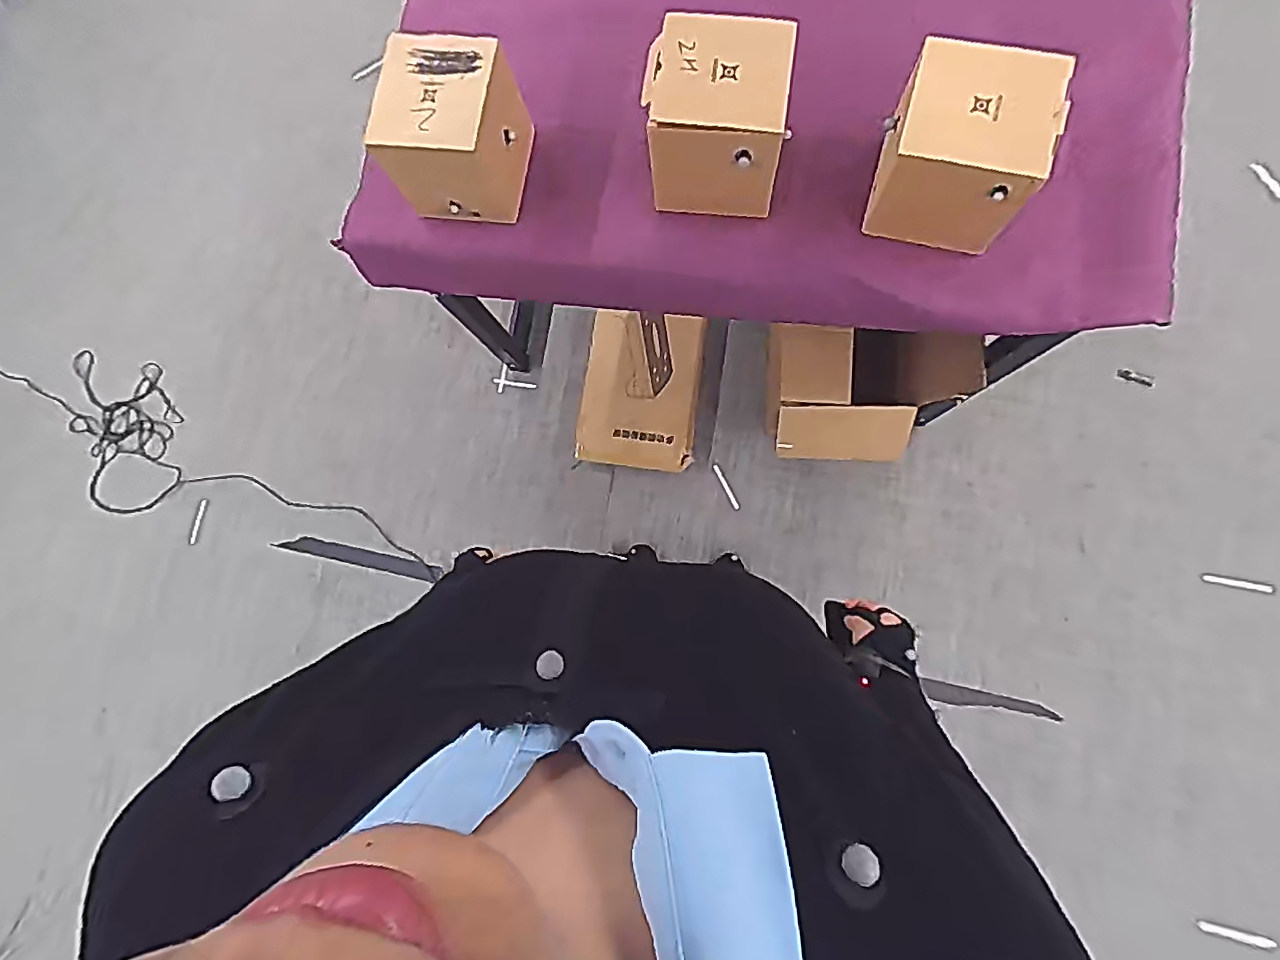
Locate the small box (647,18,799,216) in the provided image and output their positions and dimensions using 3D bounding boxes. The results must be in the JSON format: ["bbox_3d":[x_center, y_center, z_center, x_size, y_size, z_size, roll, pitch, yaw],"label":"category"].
[{"bbox_3d":[0.115,-0.503,0.769,0.179,0.176,0.168,8,81,8],"label":"small box"}]

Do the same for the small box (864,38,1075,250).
[{"bbox_3d":[0.423,-0.436,0.726,0.179,0.176,0.168,15,84,8],"label":"small box"}]
